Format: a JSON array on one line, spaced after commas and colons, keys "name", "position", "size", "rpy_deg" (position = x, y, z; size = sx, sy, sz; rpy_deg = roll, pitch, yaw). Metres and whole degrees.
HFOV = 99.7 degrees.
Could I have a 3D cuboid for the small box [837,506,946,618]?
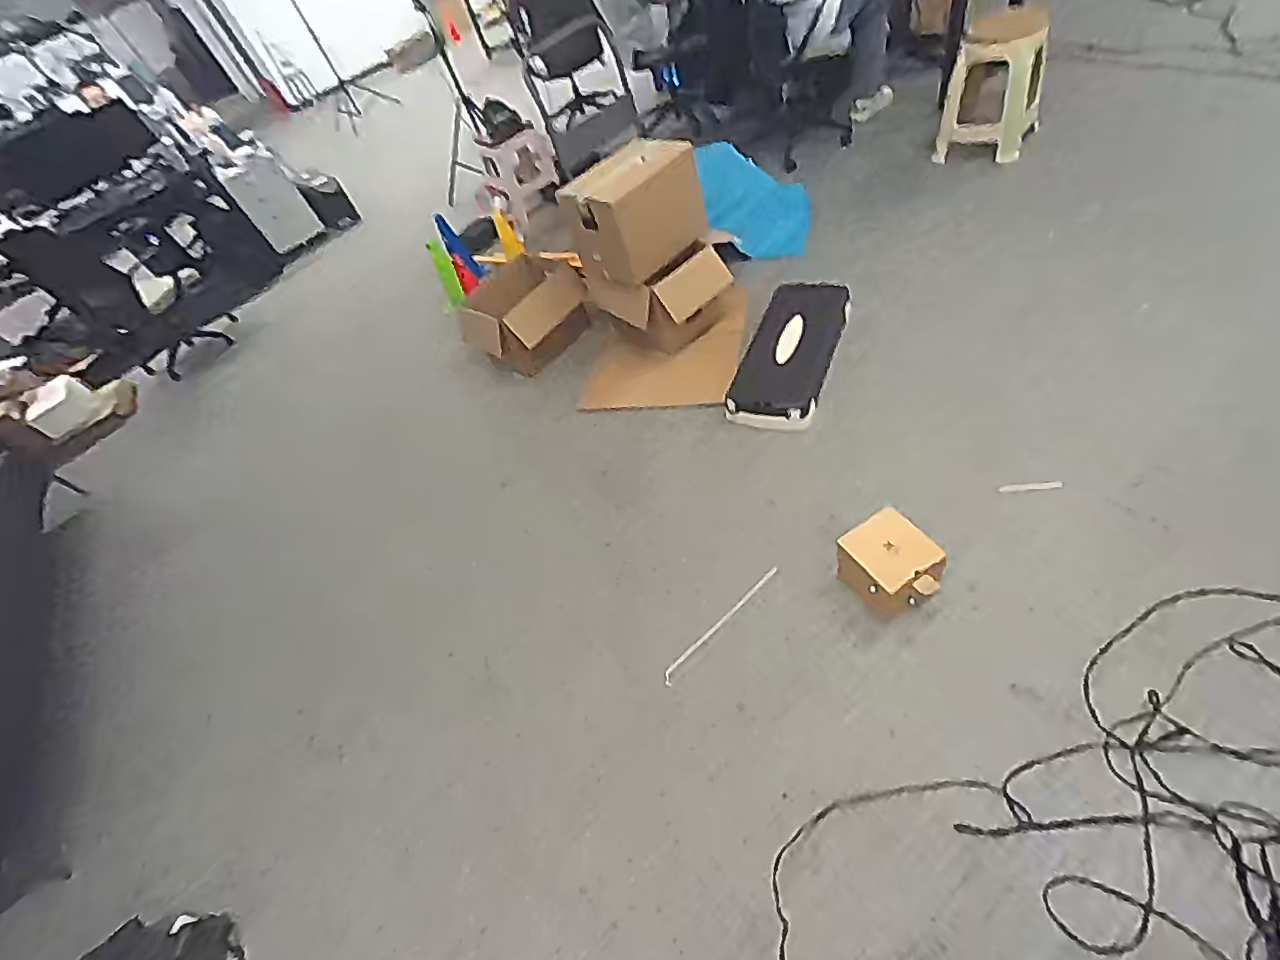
[{"name": "small box", "position": [0.602, 0.203, 1.320], "size": [0.168, 0.176, 0.179], "rpy_deg": [-31, 50, -7]}]
